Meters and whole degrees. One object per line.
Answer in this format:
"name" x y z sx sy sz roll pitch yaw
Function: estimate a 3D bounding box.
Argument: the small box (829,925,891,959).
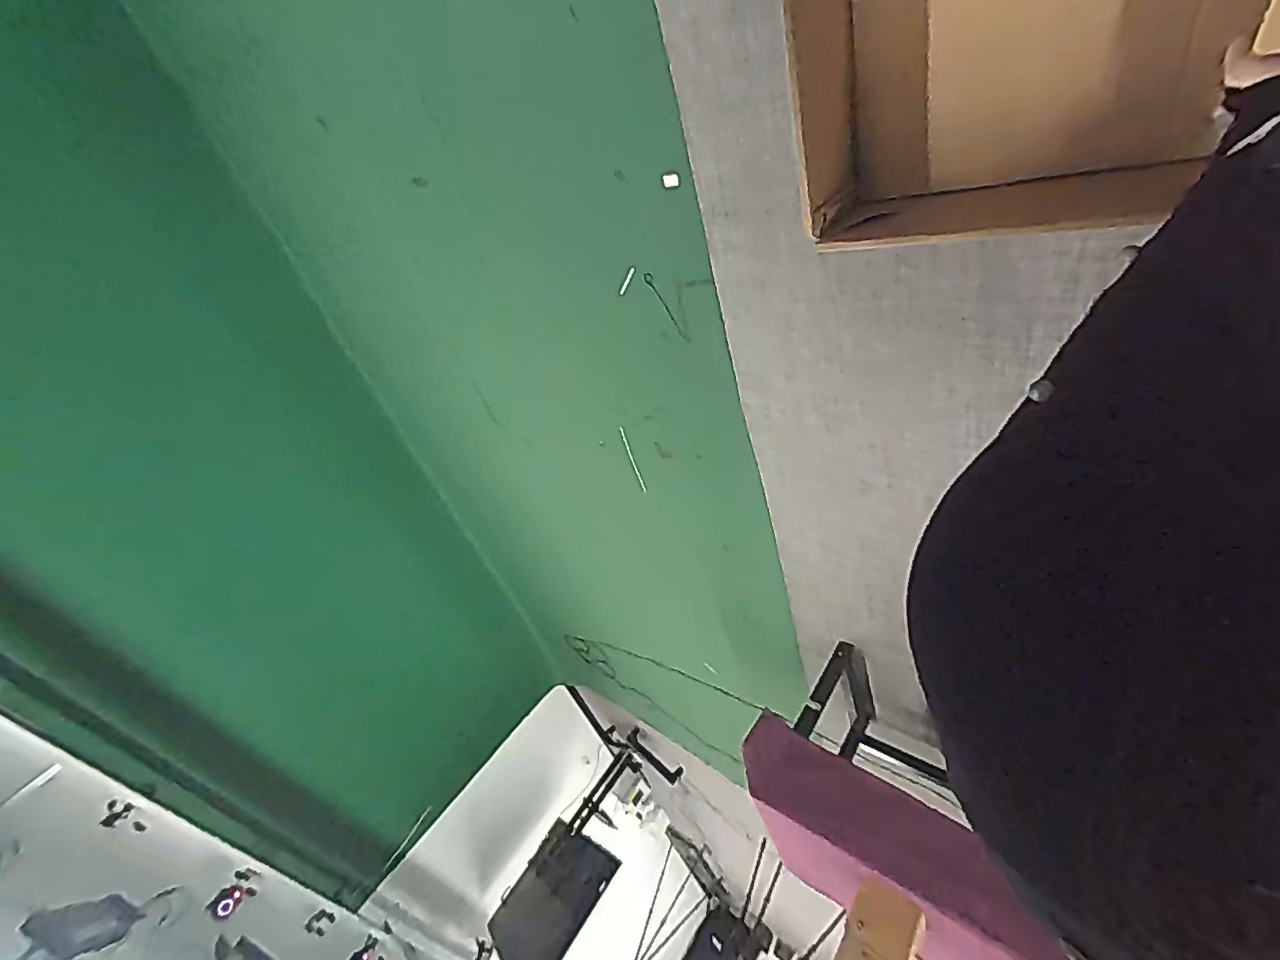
"small box" 0.627 1.412 1.527 0.168 0.176 0.179 16 139 40

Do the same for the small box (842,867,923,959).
"small box" 0.726 1.308 1.607 0.179 0.176 0.168 14 138 42
